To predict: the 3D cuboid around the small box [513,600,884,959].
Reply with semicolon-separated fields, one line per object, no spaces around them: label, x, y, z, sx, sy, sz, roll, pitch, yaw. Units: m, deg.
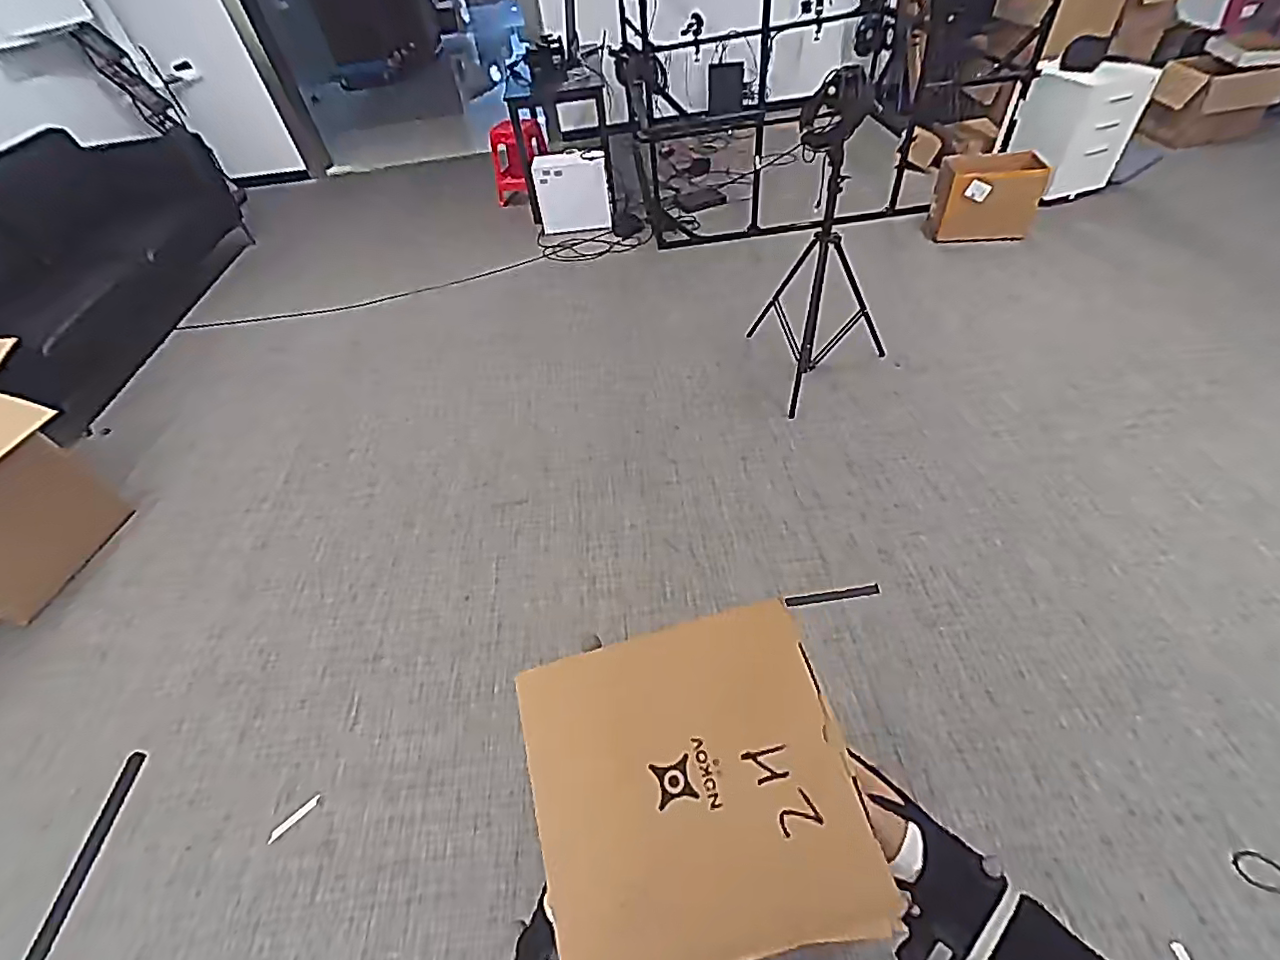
small box;0.030;0.203;0.377;0.179;0.176;0.168;-16;65;-3
